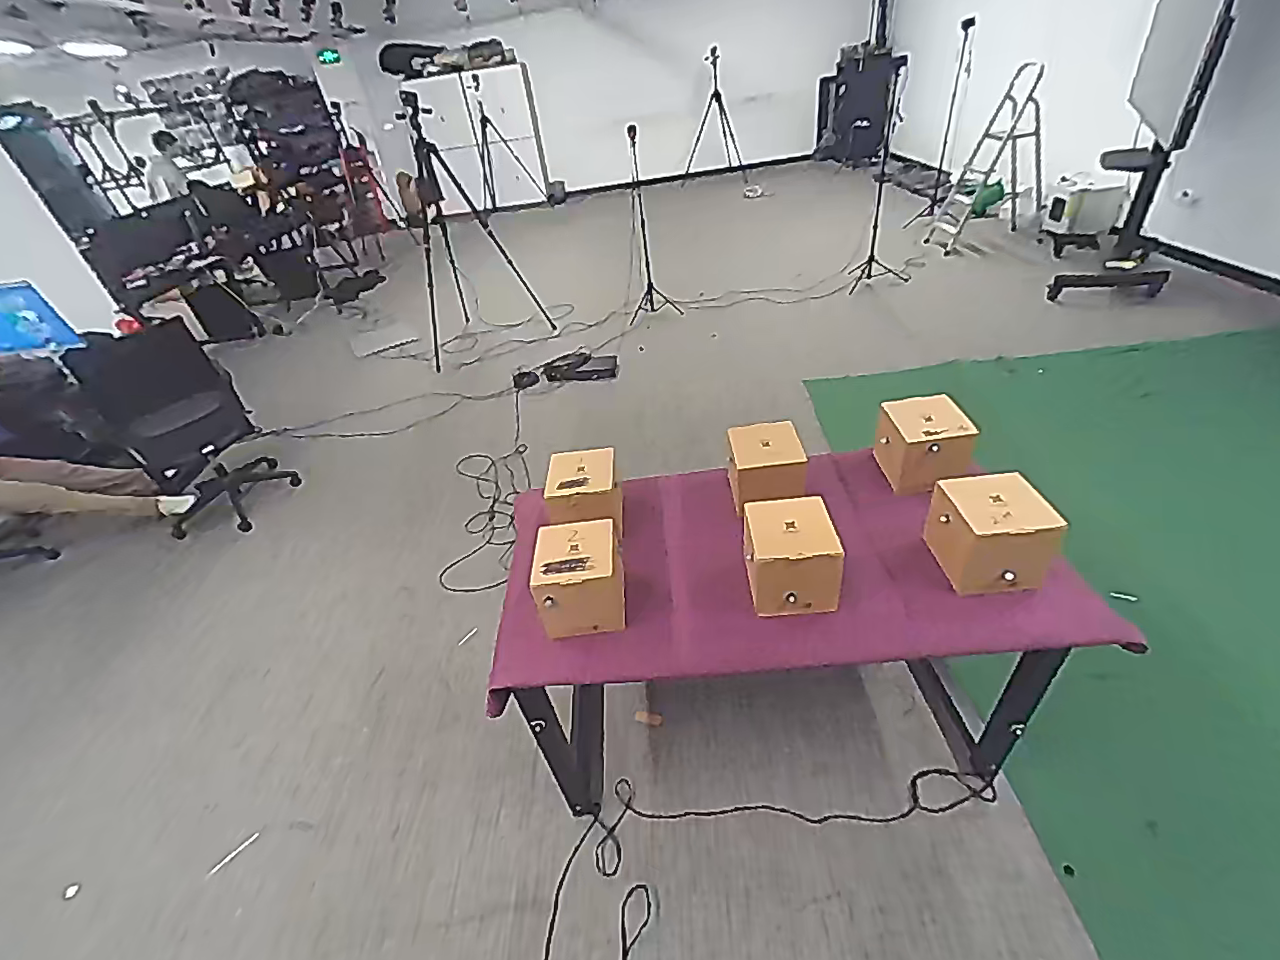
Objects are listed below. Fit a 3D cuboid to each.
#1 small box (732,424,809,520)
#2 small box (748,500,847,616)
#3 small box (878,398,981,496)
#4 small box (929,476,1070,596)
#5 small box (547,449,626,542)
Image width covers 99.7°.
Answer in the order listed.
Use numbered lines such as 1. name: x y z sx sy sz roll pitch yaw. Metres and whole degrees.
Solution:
1. small box: 0.324 -0.021 1.376 0.168 0.176 0.179 -6 39 5
2. small box: 0.320 0.163 1.138 0.168 0.176 0.179 -5 37 5
3. small box: 0.718 -0.083 1.365 0.168 0.176 0.179 -8 39 5
4. small box: 0.720 0.114 1.110 0.168 0.176 0.179 -6 36 6
5. small box: -0.129 0.044 1.381 0.168 0.176 0.179 -6 38 4
